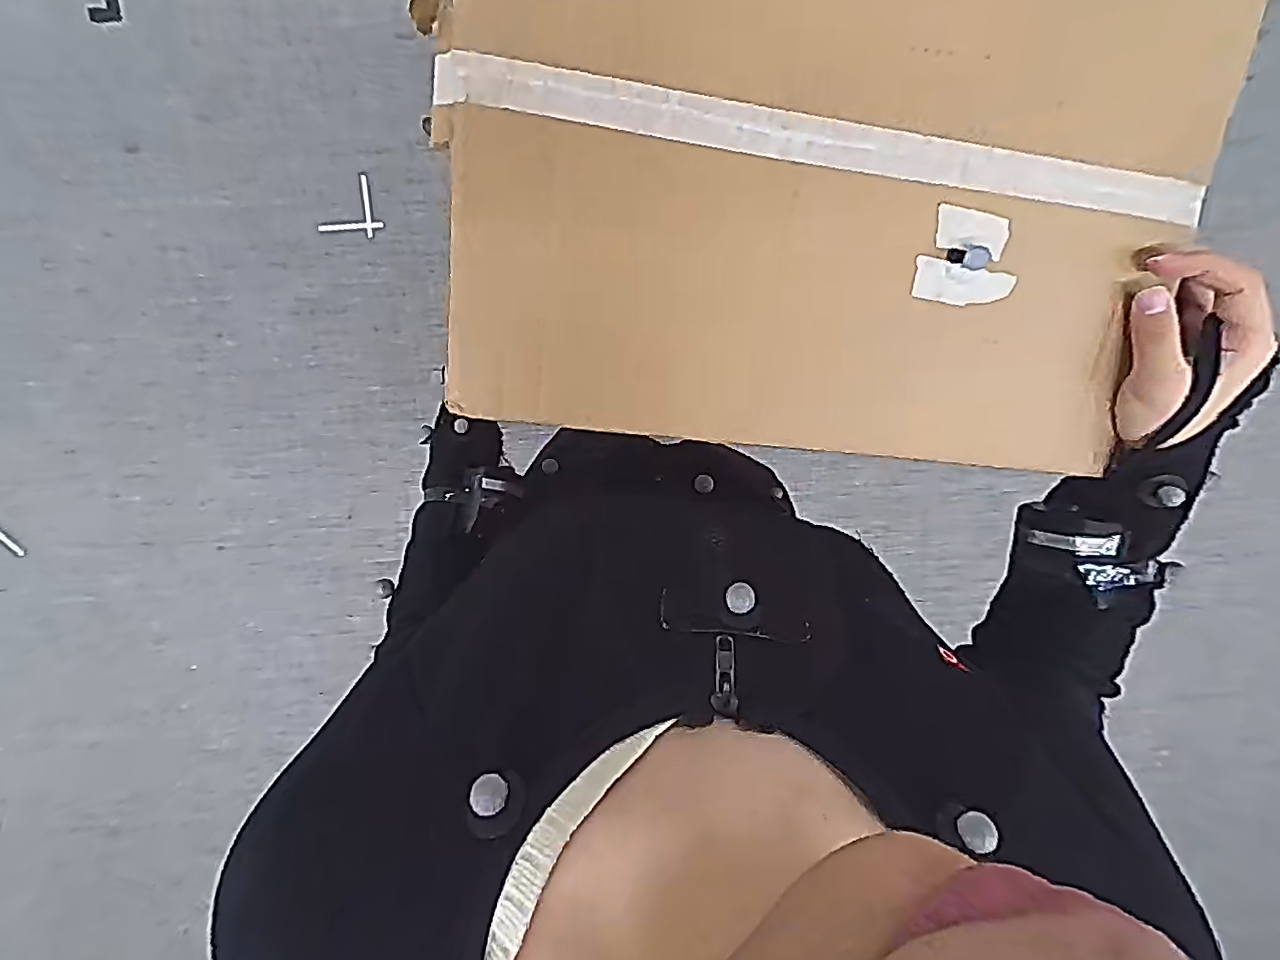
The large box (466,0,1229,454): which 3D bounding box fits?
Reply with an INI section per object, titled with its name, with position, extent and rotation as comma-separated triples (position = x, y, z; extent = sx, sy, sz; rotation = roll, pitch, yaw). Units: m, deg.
[large box]
position = 0.092, -0.211, 0.430
extent = 0.408, 0.320, 0.320
rotation = 4, 104, -10
